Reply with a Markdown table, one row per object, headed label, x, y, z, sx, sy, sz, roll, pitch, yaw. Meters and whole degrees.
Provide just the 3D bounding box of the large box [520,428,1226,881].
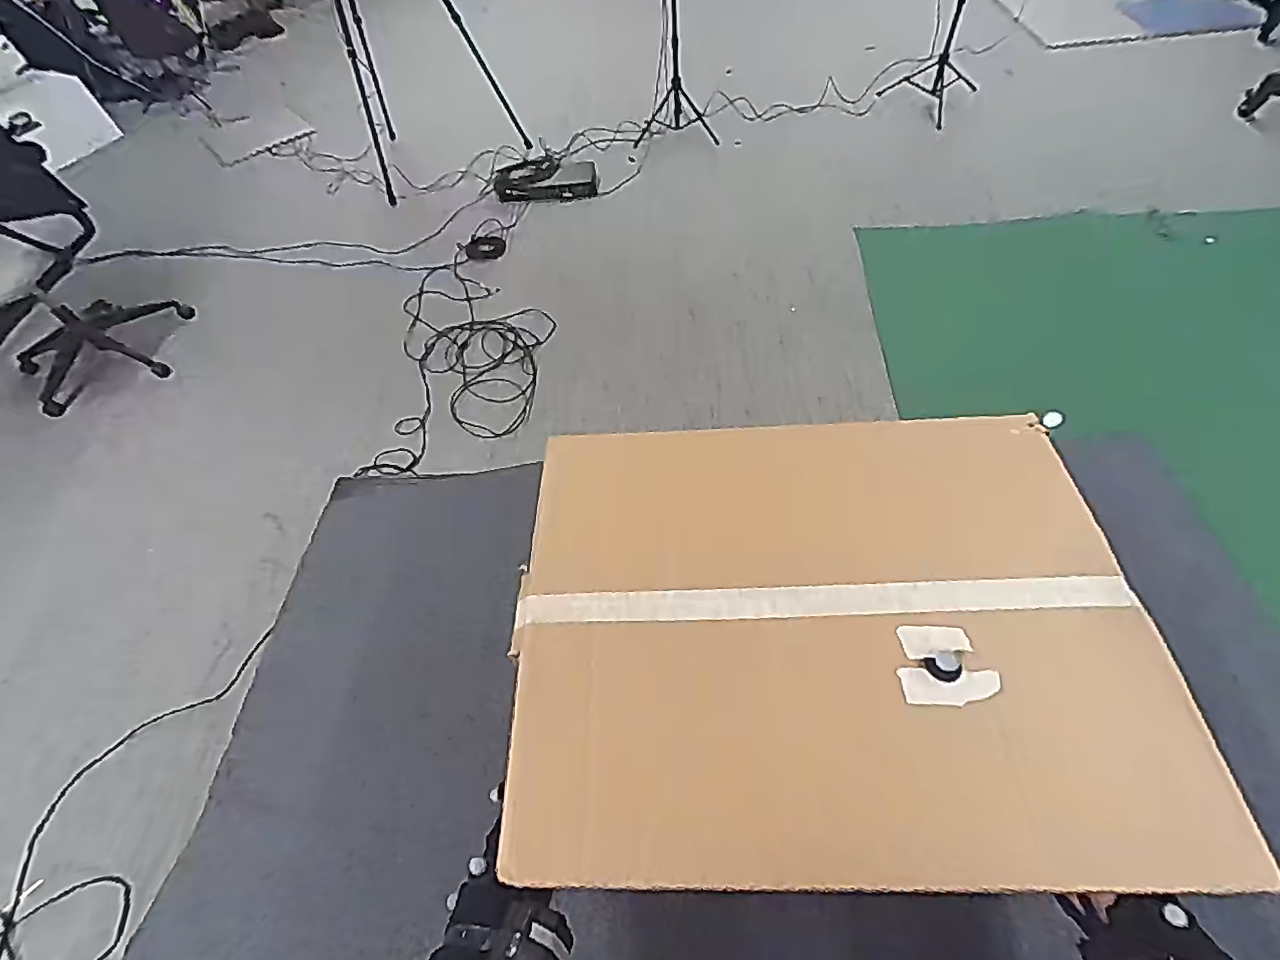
| label | x | y | z | sx | sy | sz | roll | pitch | yaw |
| --- | --- | --- | --- | --- | --- | --- | --- | --- | --- |
| large box | 0.133 | 0.175 | 0.510 | 0.408 | 0.320 | 0.320 | -3 | 56 | 3 |
